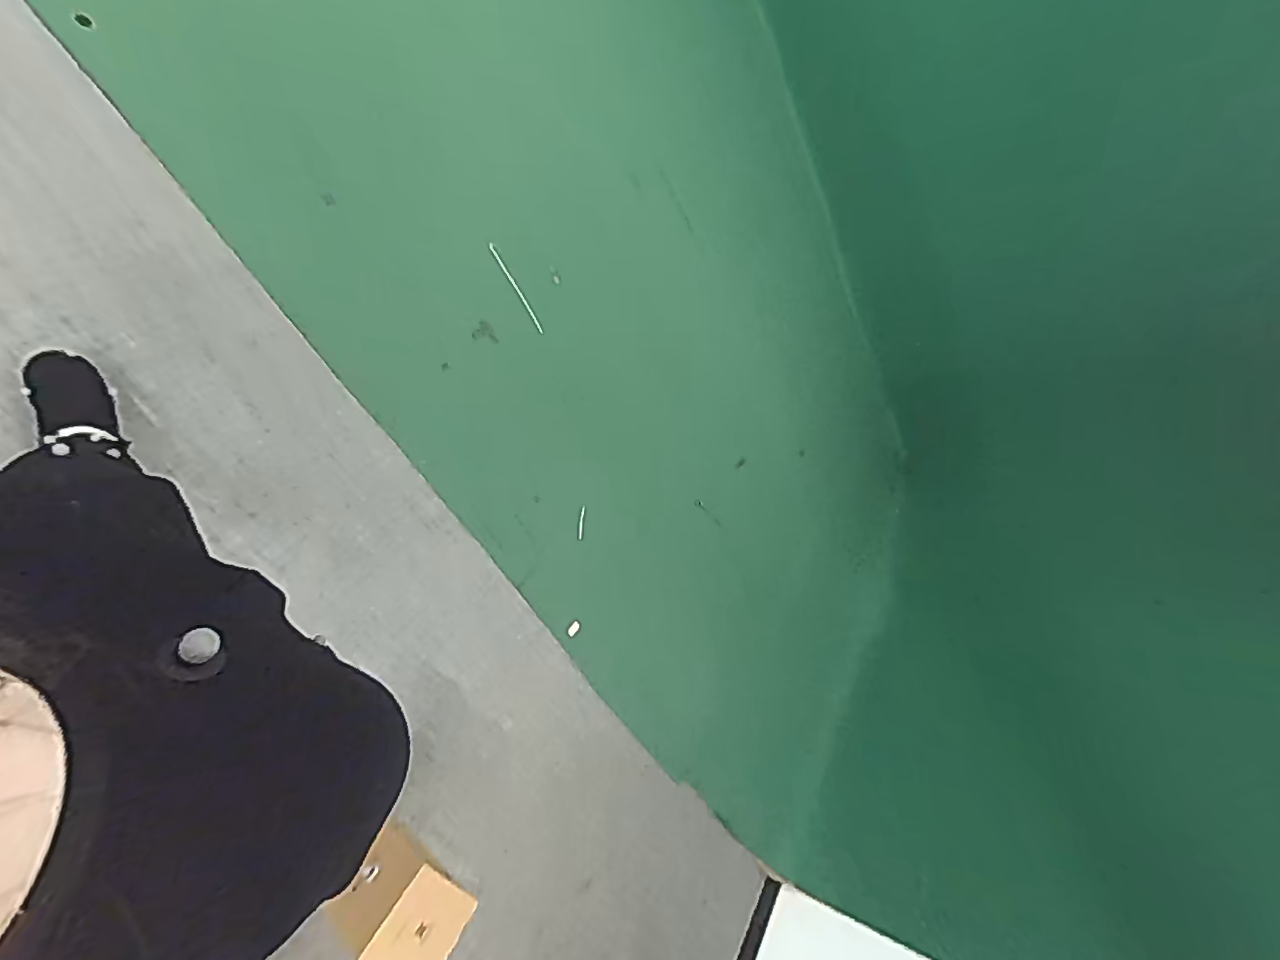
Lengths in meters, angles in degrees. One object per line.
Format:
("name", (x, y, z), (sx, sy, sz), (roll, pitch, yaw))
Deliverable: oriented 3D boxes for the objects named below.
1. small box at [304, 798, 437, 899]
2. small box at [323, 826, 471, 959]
("small box", (-0.597, 0.838, 1.194), (0.168, 0.176, 0.179), (-53, 123, -34))
("small box", (-0.483, 0.831, 1.078), (0.168, 0.176, 0.179), (-54, 123, -35))
